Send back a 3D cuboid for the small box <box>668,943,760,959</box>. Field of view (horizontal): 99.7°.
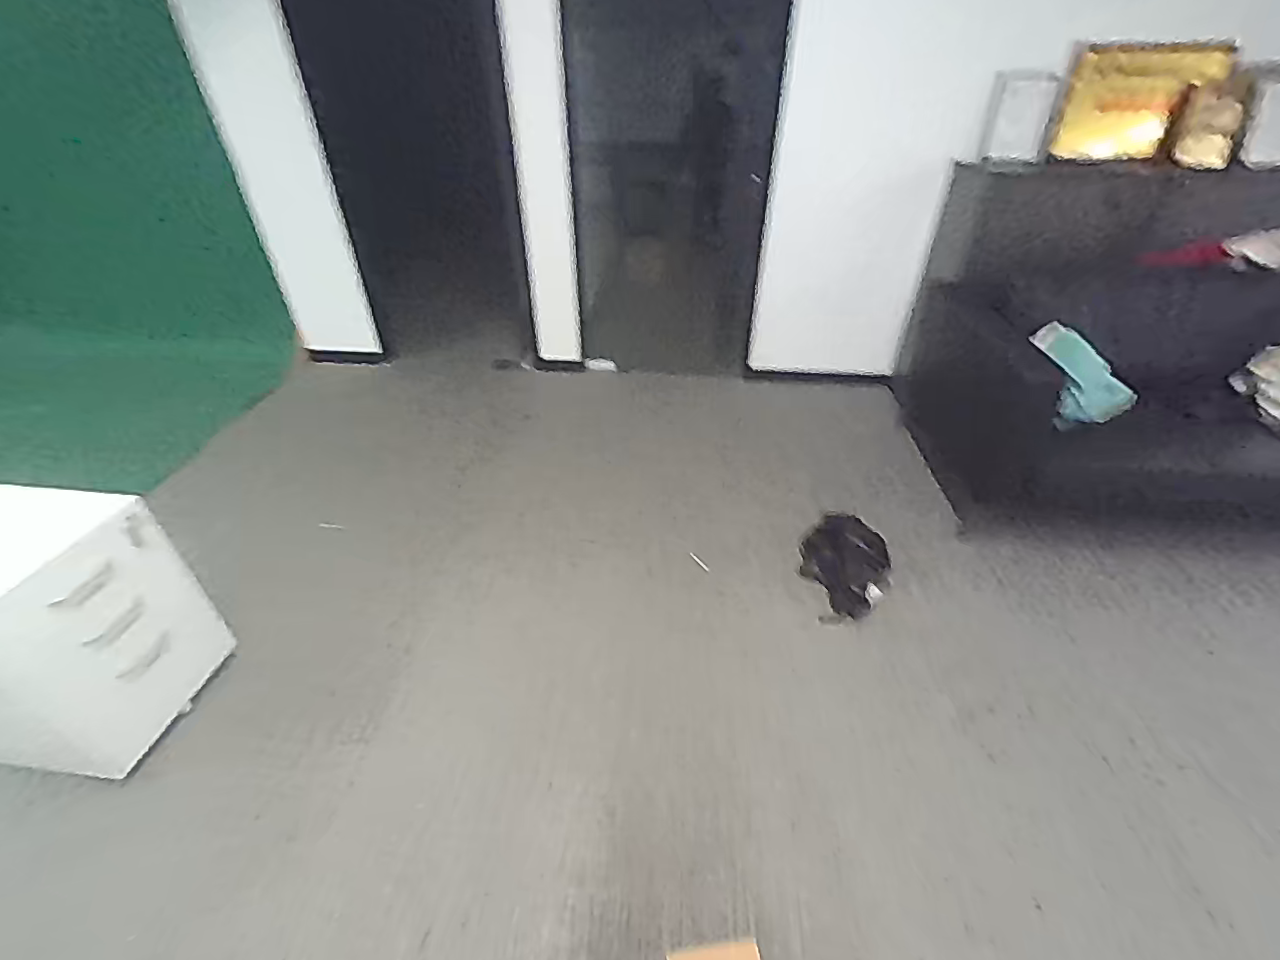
[{"bbox_3d":[0.135,0.946,0.934,0.168,0.176,0.179,-4,37,-6],"label":"small box"}]
